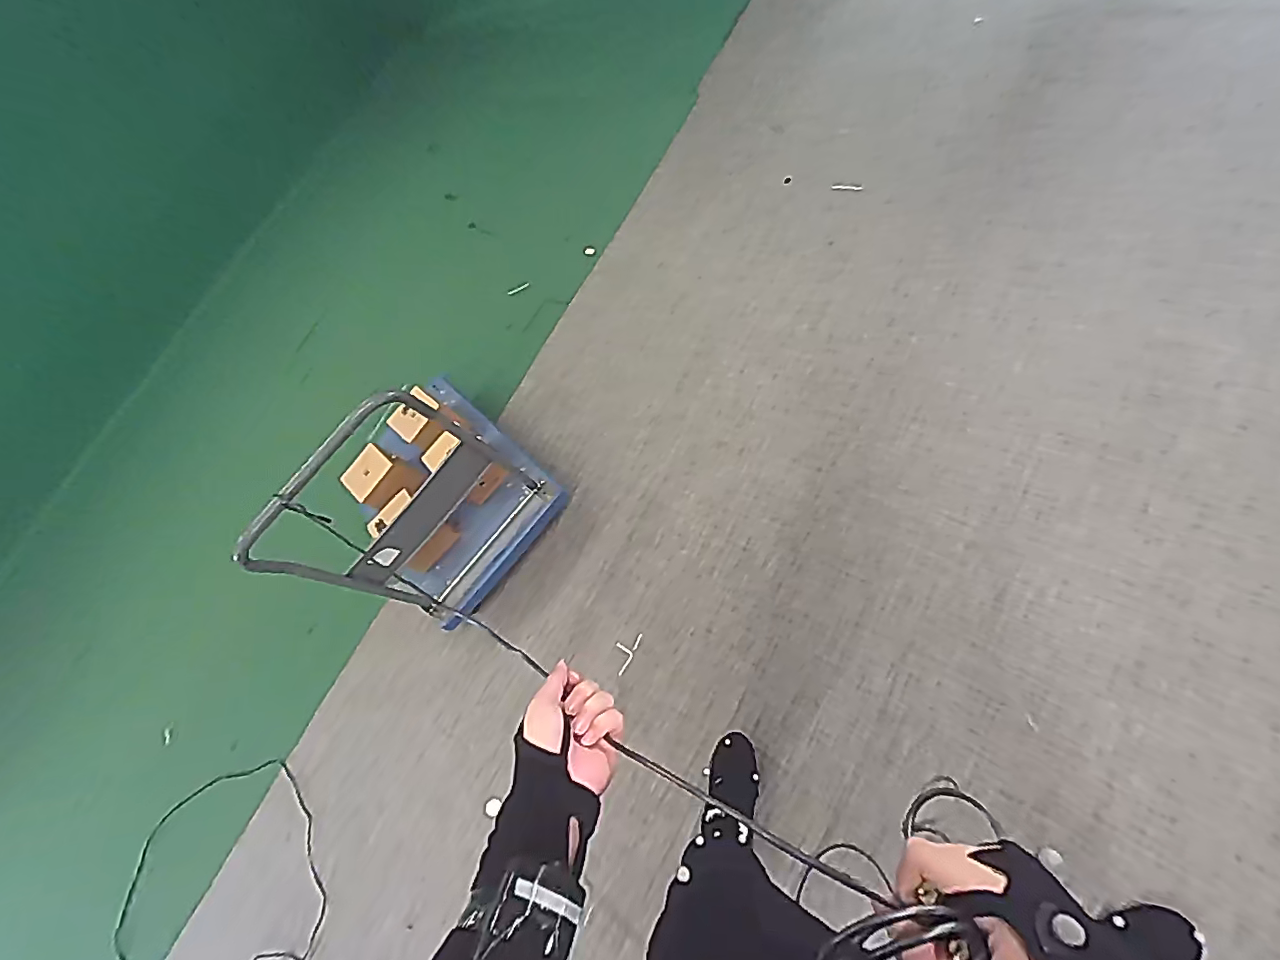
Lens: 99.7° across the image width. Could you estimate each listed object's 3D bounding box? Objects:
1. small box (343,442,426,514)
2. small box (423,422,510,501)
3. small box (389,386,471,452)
[{"bbox_3d":[-0.893,0.001,1.902,0.179,0.176,0.168,35,85,33],"label":"small box"},{"bbox_3d":[-0.565,-0.055,1.774,0.168,0.176,0.179,-49,57,-2],"label":"small box"},{"bbox_3d":[-0.742,-0.199,1.920,0.179,0.176,0.168,35,86,32],"label":"small box"}]
